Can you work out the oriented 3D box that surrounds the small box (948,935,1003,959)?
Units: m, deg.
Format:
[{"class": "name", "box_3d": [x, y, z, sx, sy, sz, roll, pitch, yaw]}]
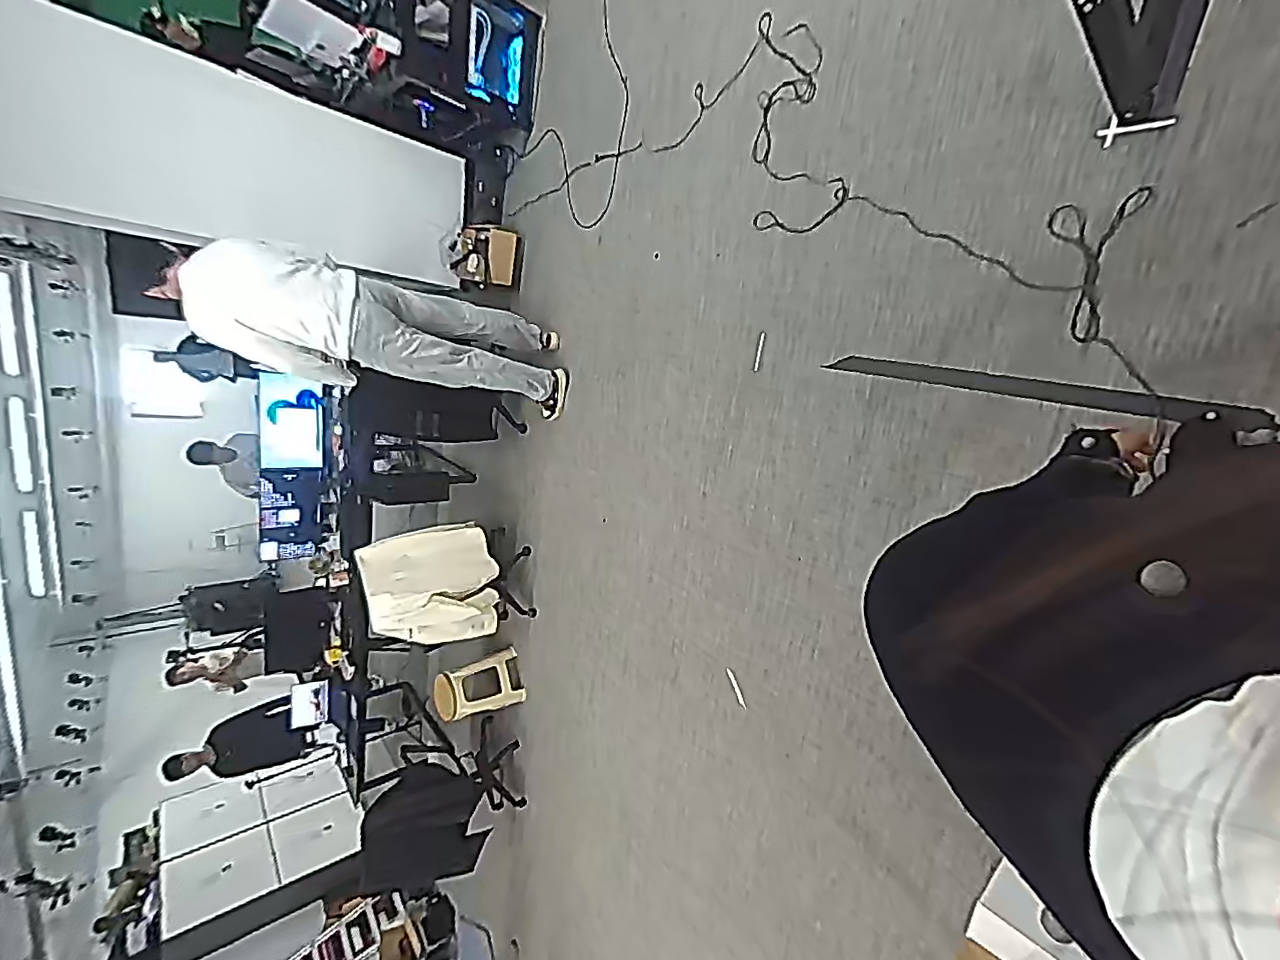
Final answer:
[{"class": "small box", "box_3d": [0.600, 0.961, 0.932, 0.168, 0.176, 0.179, 18, 107, 44]}]
